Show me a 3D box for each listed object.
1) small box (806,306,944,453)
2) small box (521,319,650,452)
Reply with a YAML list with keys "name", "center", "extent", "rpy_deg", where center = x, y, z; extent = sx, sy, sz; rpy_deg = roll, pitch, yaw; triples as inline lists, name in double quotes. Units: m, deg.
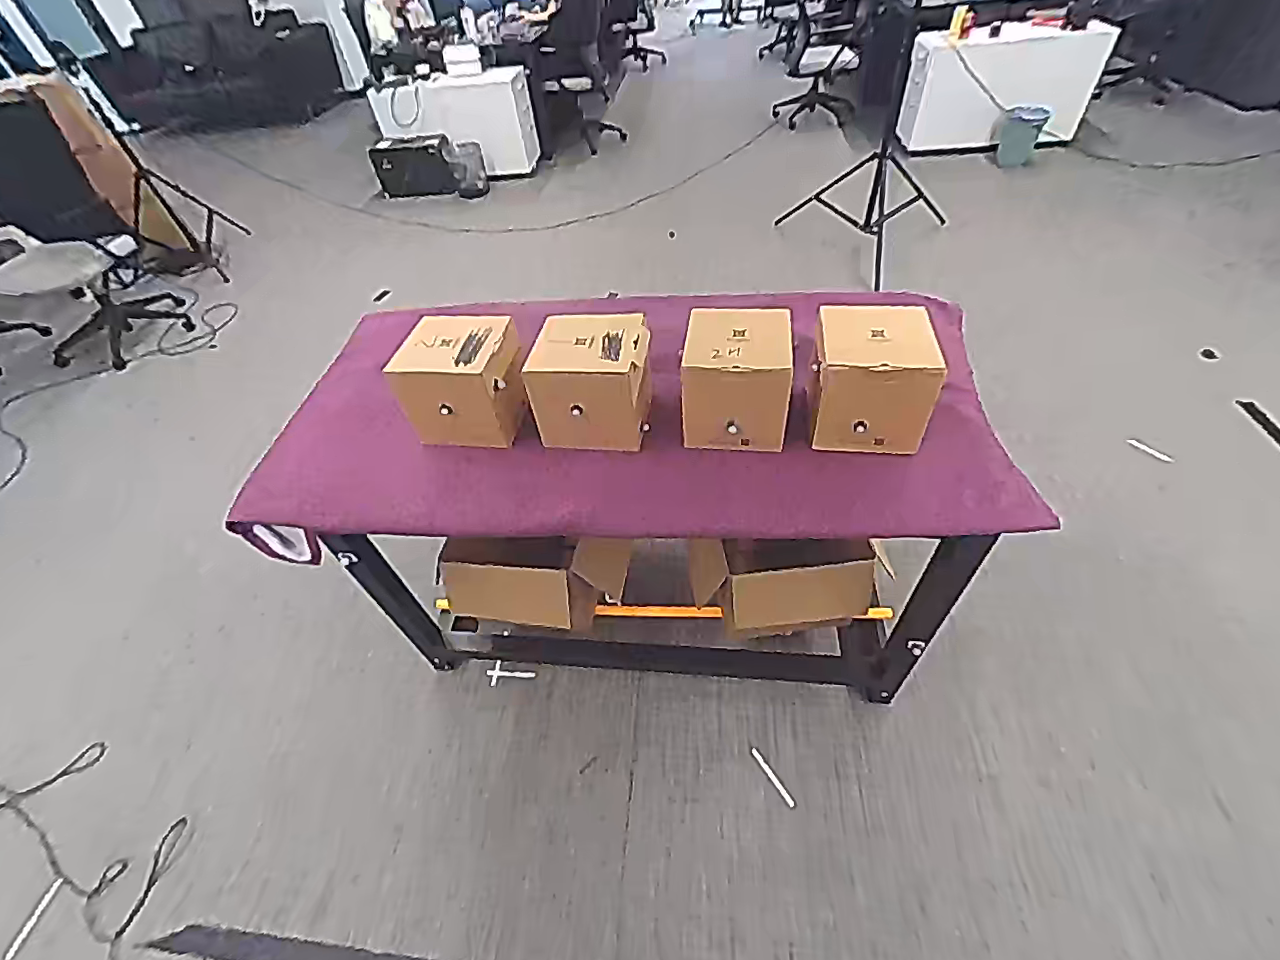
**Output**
- name: "small box"
  center: [0.369, -0.166, 0.887]
  extent: [0.168, 0.176, 0.179]
  rpy_deg: [3, 47, 10]
- name: "small box"
  center: [-0.082, -0.161, 0.942]
  extent: [0.179, 0.176, 0.168]
  rpy_deg: [2, 48, 11]
